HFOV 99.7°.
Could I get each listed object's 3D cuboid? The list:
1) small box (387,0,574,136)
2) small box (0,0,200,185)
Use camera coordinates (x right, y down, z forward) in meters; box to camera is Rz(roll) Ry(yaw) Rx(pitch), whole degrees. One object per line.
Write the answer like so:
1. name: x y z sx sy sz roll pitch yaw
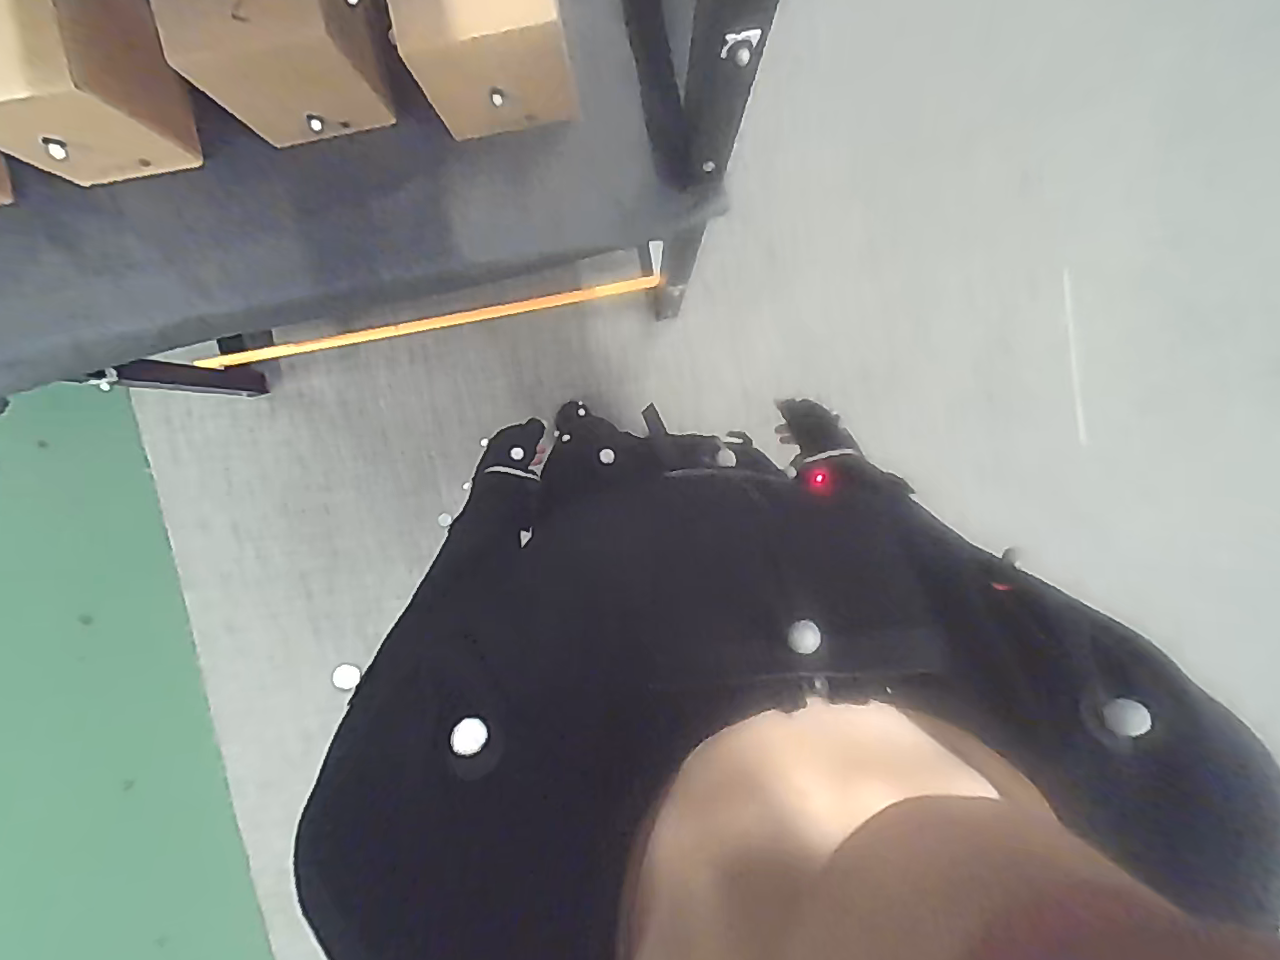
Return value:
1. small box: -0.178 -0.528 0.620 0.168 0.176 0.179 -10 94 1
2. small box: -0.665 -0.469 0.628 0.168 0.176 0.179 -10 94 1
